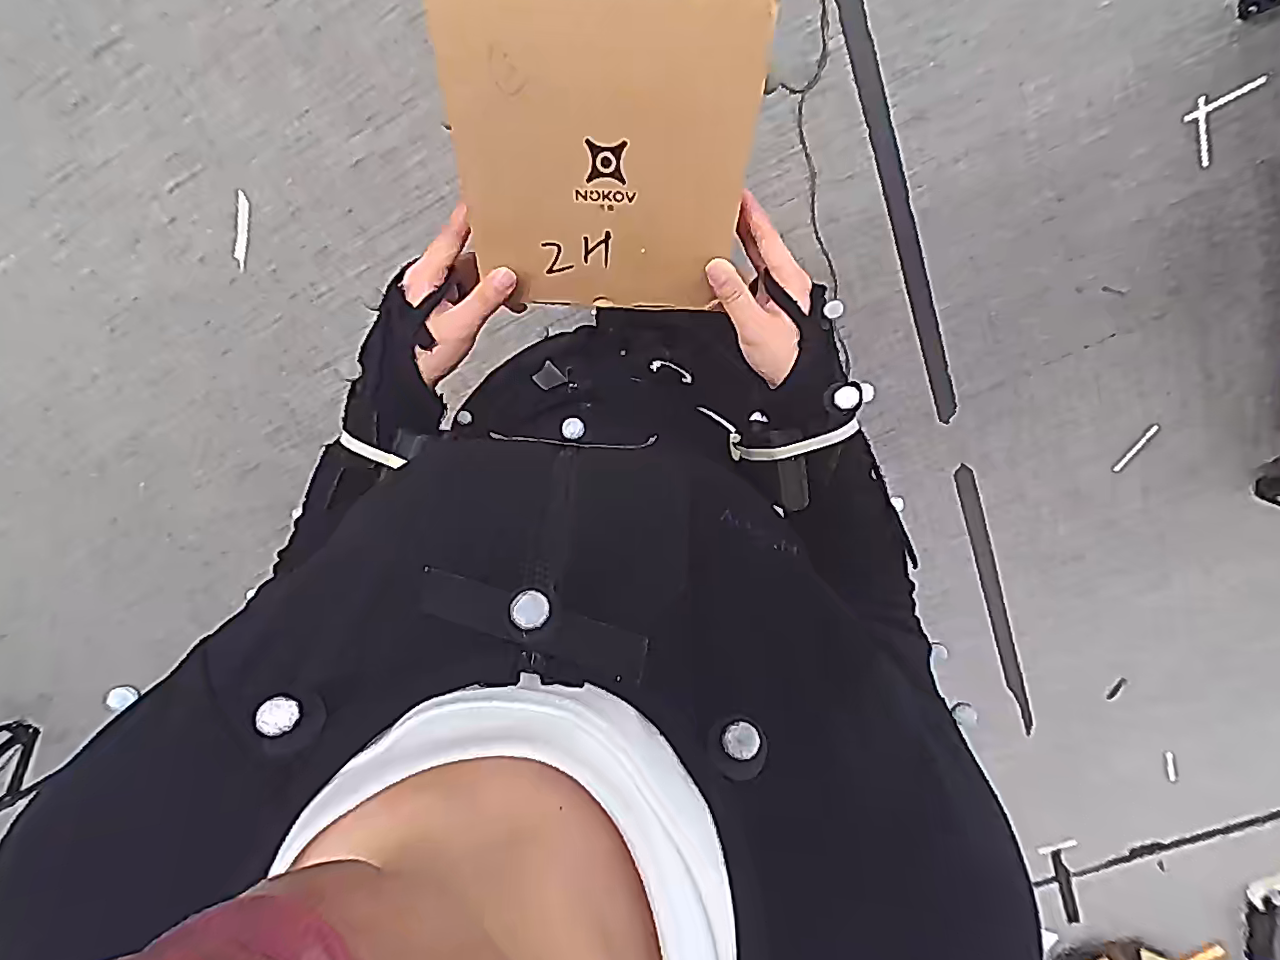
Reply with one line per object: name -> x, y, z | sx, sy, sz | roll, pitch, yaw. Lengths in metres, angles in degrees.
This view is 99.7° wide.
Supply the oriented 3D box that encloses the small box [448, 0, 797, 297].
small box -> -0.015, -0.245, 0.350 | 0.168, 0.176, 0.179 | 2, 141, -4
